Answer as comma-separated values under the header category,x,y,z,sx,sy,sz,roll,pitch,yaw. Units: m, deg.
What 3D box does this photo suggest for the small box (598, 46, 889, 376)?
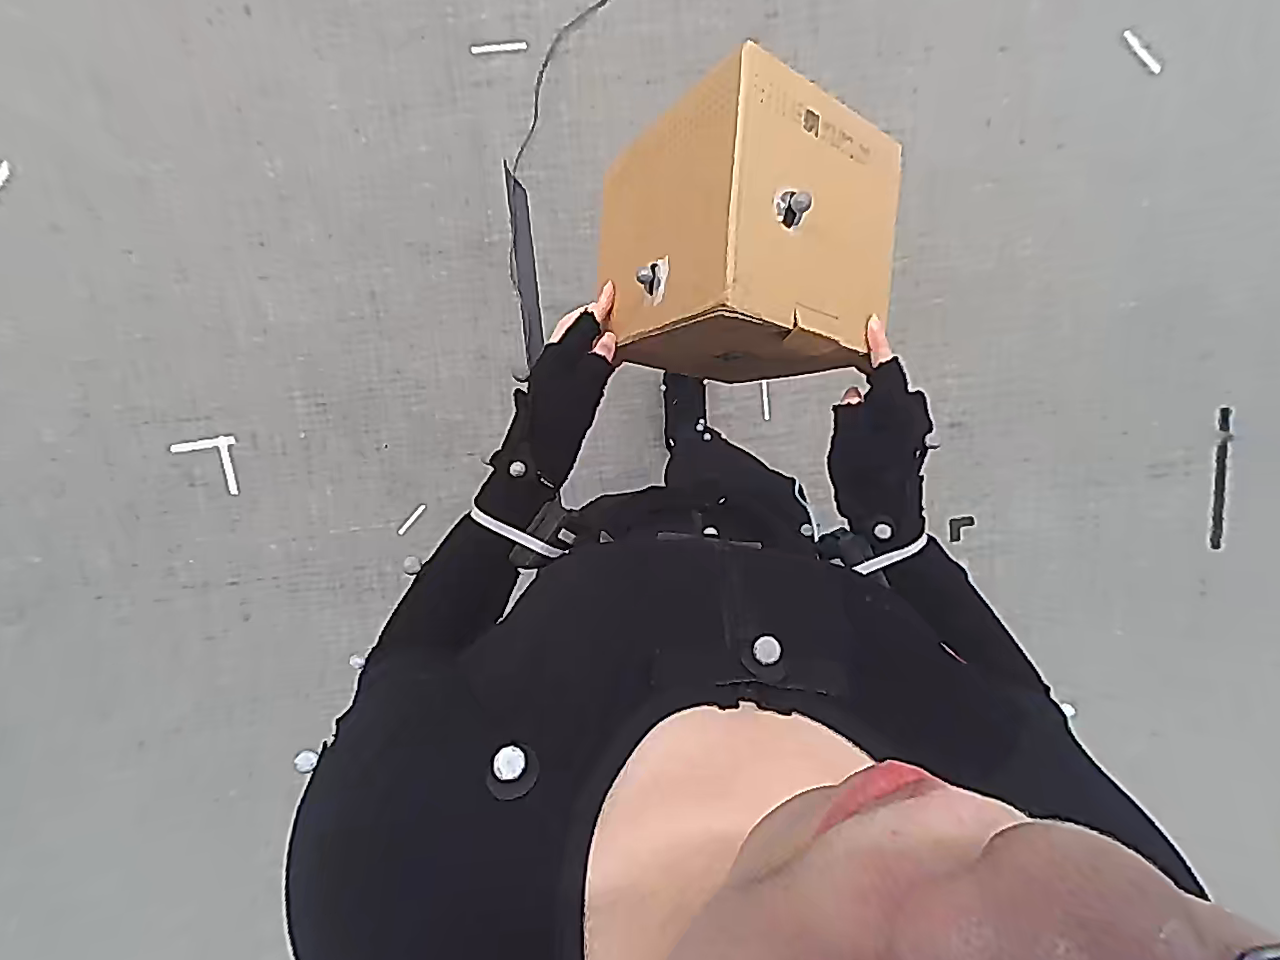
category,x,y,z,sx,sy,sz,roll,pitch,yaw
small box,0.080,-0.191,0.440,0.168,0.179,0.176,5,90,-34
